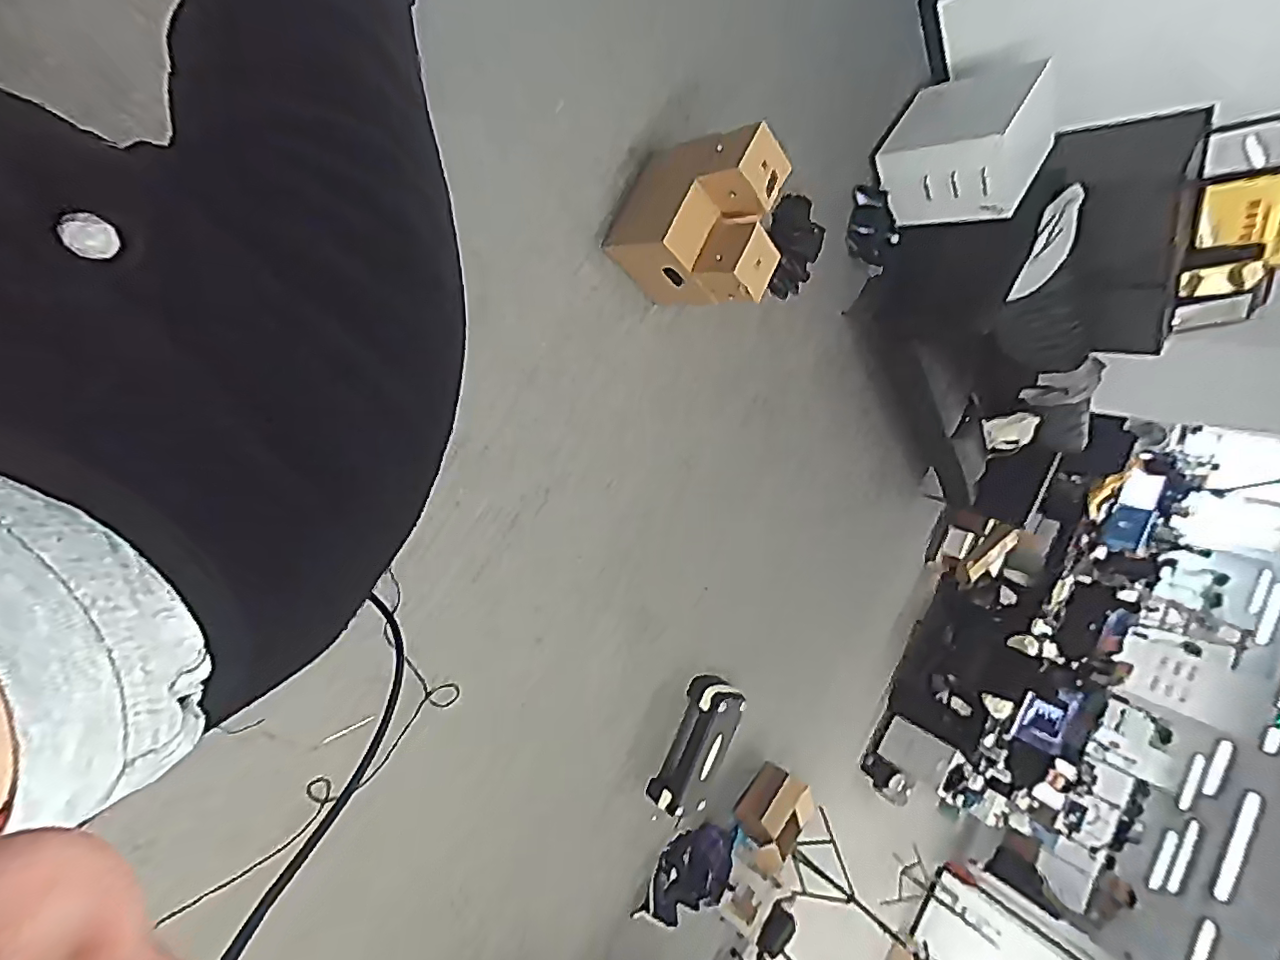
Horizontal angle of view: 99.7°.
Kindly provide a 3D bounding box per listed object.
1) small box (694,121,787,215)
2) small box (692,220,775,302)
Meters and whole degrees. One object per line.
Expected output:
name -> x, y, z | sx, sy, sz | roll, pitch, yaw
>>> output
small box -> 0.297, -0.915, 1.606 | 0.179, 0.176, 0.168 | 33, 81, -41
small box -> 0.286, -0.676, 1.682 | 0.168, 0.176, 0.179 | 28, 84, -48
